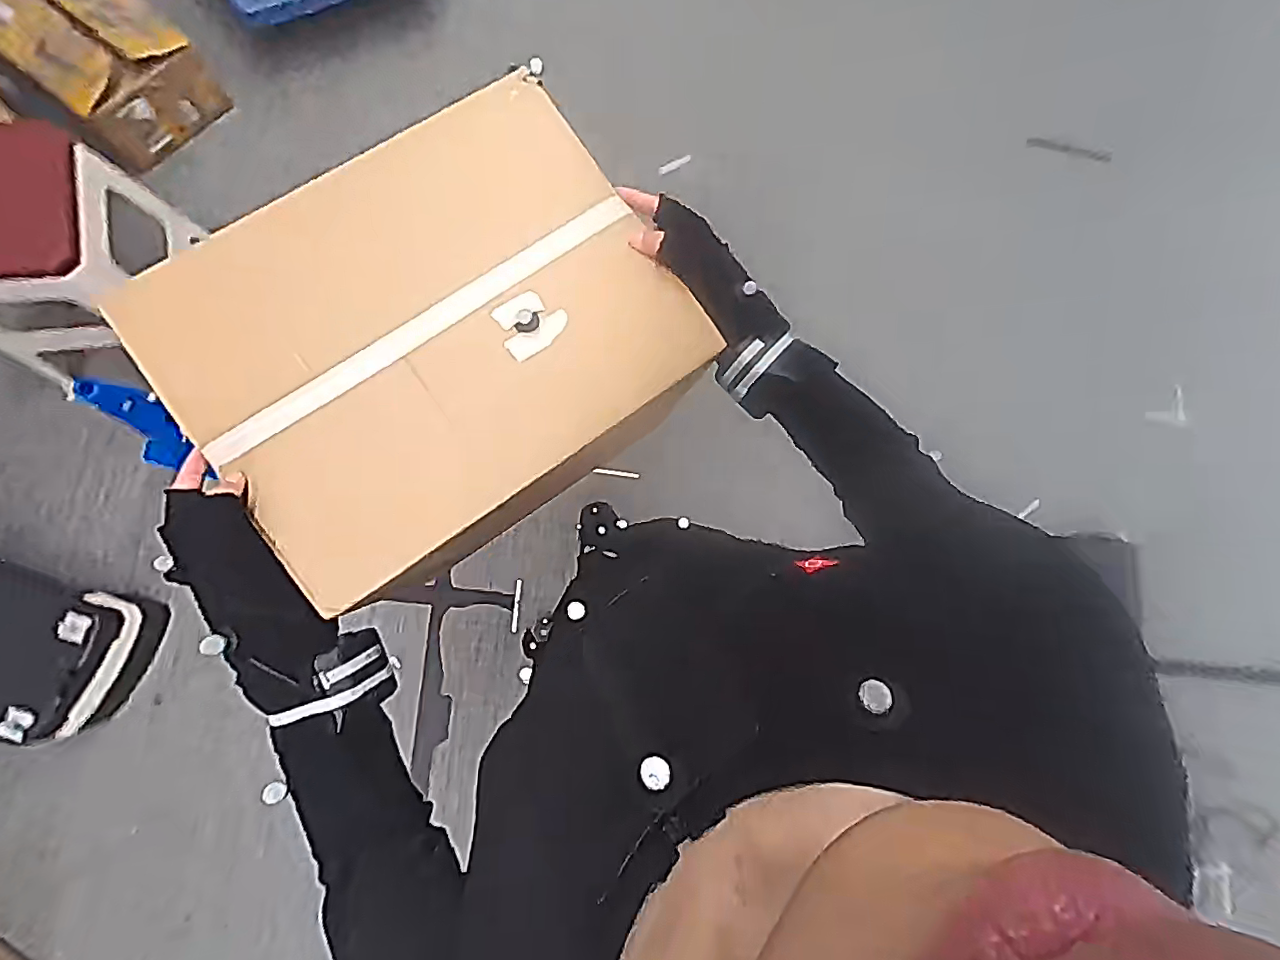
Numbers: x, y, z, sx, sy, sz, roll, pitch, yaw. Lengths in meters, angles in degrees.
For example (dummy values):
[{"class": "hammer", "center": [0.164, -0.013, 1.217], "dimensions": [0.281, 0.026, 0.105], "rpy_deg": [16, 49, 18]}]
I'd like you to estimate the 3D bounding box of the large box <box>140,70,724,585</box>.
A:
[{"class": "large box", "center": [-0.184, -0.130, 0.613], "dimensions": [0.408, 0.320, 0.320], "rpy_deg": [-35, 89, -10]}]
